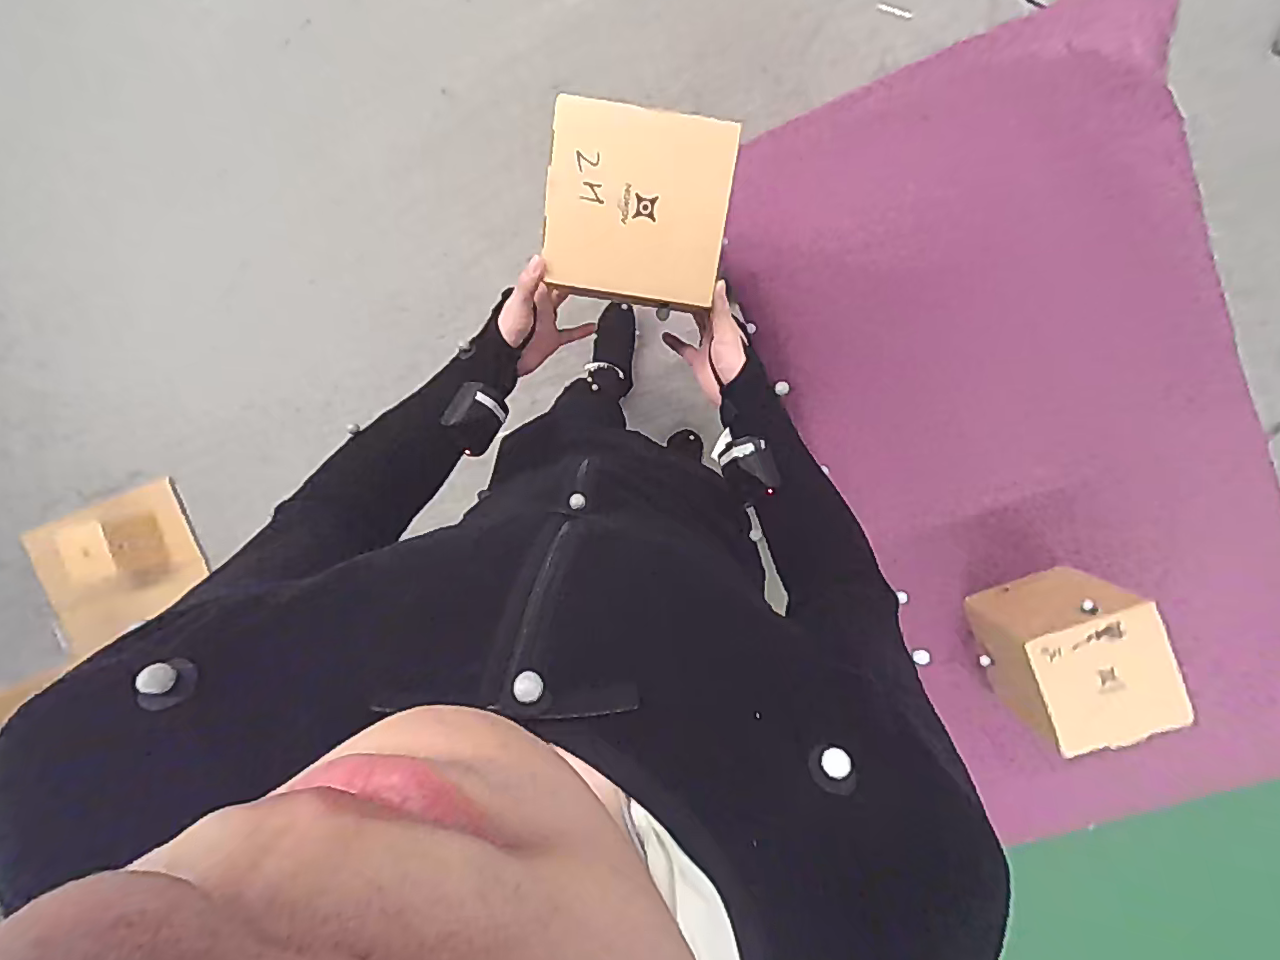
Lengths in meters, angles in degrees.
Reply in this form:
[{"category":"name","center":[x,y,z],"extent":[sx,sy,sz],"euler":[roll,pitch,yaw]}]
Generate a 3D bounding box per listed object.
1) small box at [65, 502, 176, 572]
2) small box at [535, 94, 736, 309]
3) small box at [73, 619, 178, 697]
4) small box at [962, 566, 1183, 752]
[{"category":"small box","center":[-1.654,0.175,1.731],"extent":[0.168,0.176,0.179],"euler":[-13,97,8]},{"category":"small box","center":[-0.007,-0.287,0.597],"extent":[0.179,0.176,0.168],"euler":[8,104,-1]},{"category":"small box","center":[-1.690,0.584,1.788],"extent":[0.168,0.176,0.179],"euler":[-14,95,7]},{"category":"small box","center":[0.608,0.248,0.783],"extent":[0.168,0.176,0.179],"euler":[-20,95,8]}]
